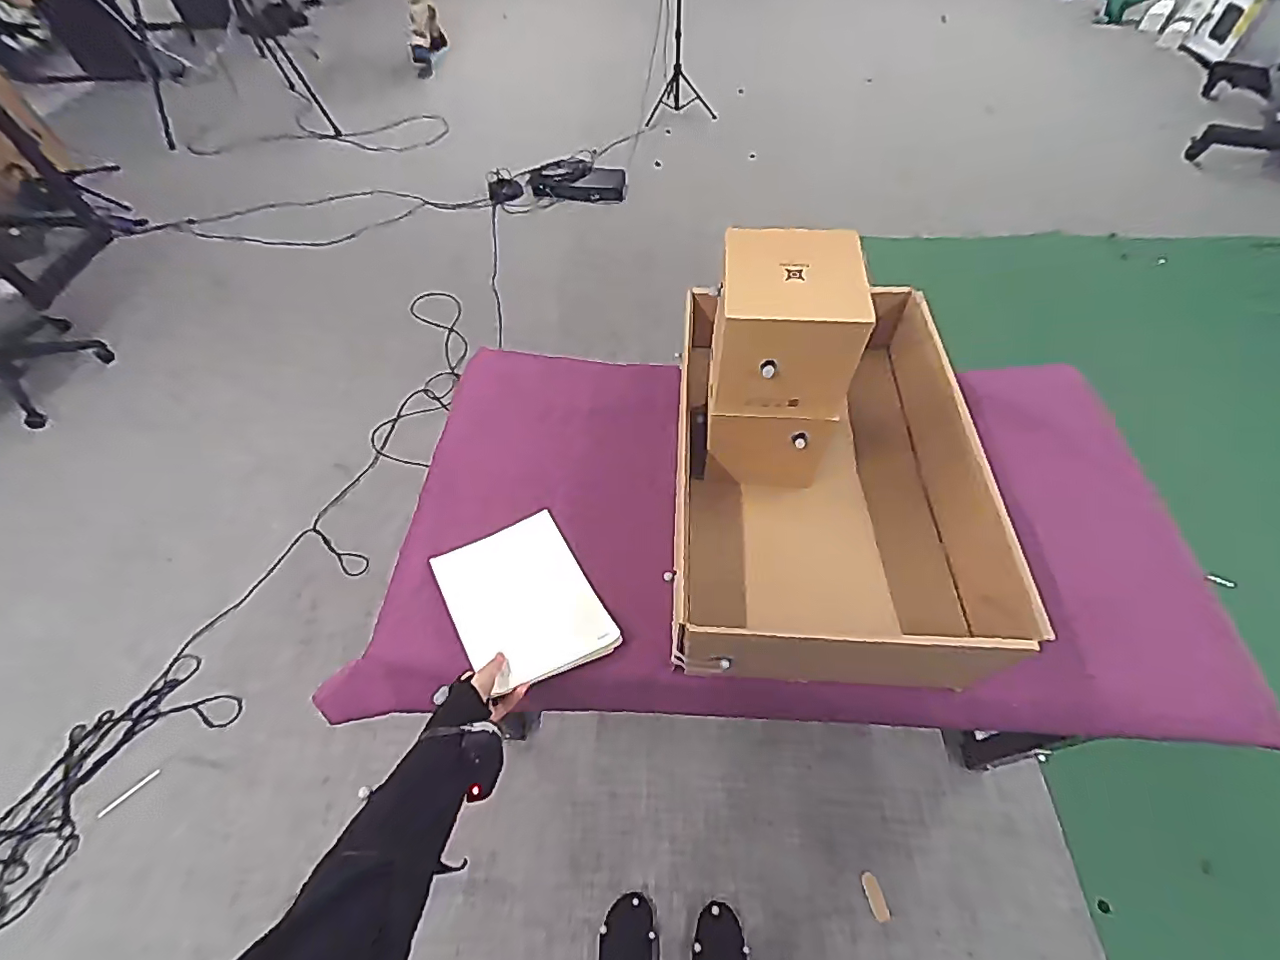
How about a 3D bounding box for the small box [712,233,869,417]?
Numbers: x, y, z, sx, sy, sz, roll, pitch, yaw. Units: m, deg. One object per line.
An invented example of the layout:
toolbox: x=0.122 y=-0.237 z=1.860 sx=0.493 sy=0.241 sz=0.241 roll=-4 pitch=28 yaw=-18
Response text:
small box: x=0.184 y=-0.199 z=0.710 sx=0.168 sy=0.176 sz=0.179 roll=3 pitch=56 yaw=5
